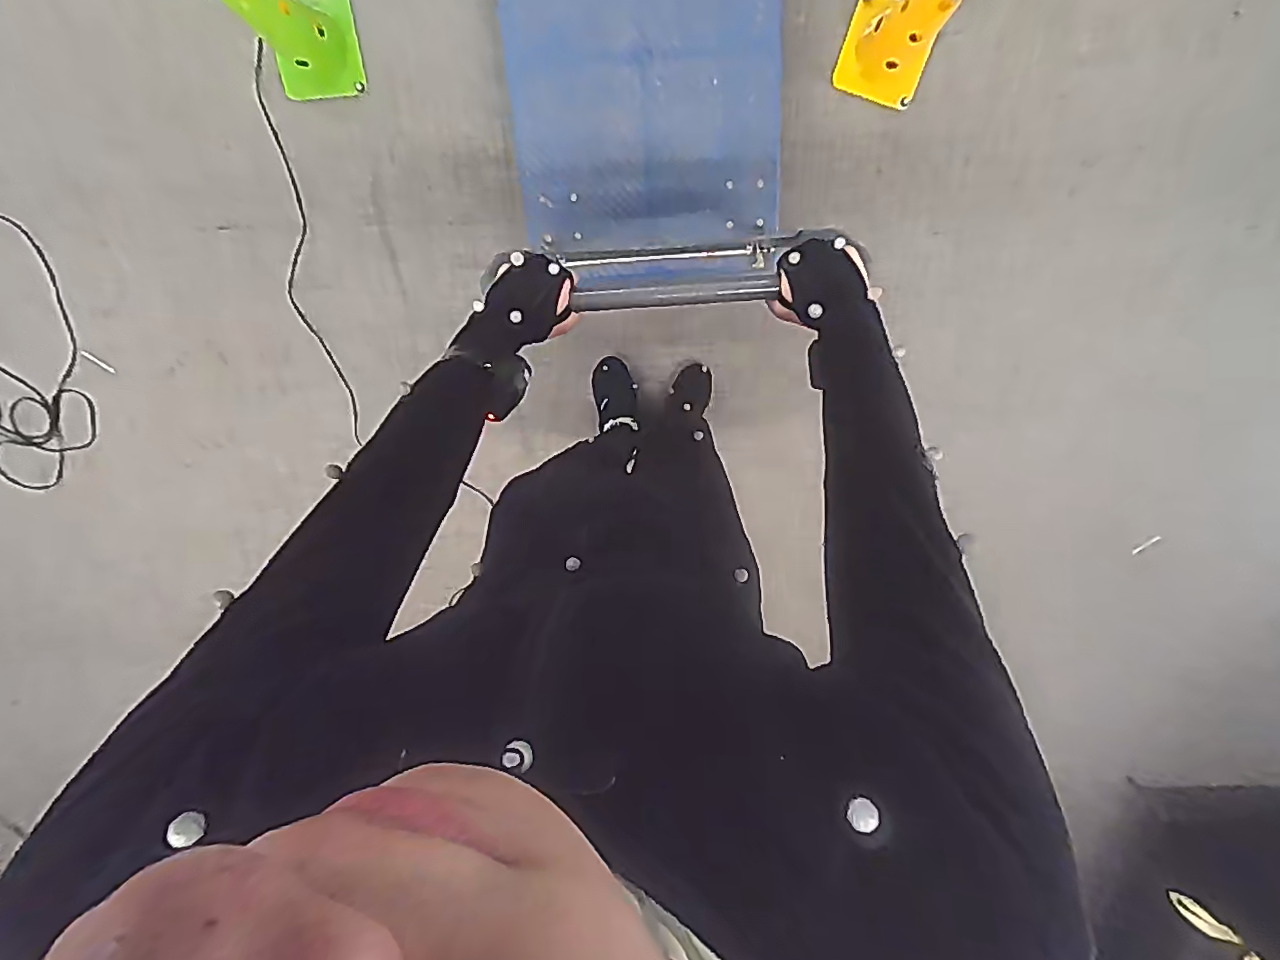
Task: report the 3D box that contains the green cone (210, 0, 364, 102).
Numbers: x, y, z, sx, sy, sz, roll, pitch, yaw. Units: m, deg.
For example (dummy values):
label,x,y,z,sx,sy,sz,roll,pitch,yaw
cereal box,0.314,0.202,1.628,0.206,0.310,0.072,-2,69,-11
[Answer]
label,x,y,z,sx,sy,sz,roll,pitch,yaw
green cone,-0.767,-0.950,1.100,0.202,0.368,0.200,-4,110,4
